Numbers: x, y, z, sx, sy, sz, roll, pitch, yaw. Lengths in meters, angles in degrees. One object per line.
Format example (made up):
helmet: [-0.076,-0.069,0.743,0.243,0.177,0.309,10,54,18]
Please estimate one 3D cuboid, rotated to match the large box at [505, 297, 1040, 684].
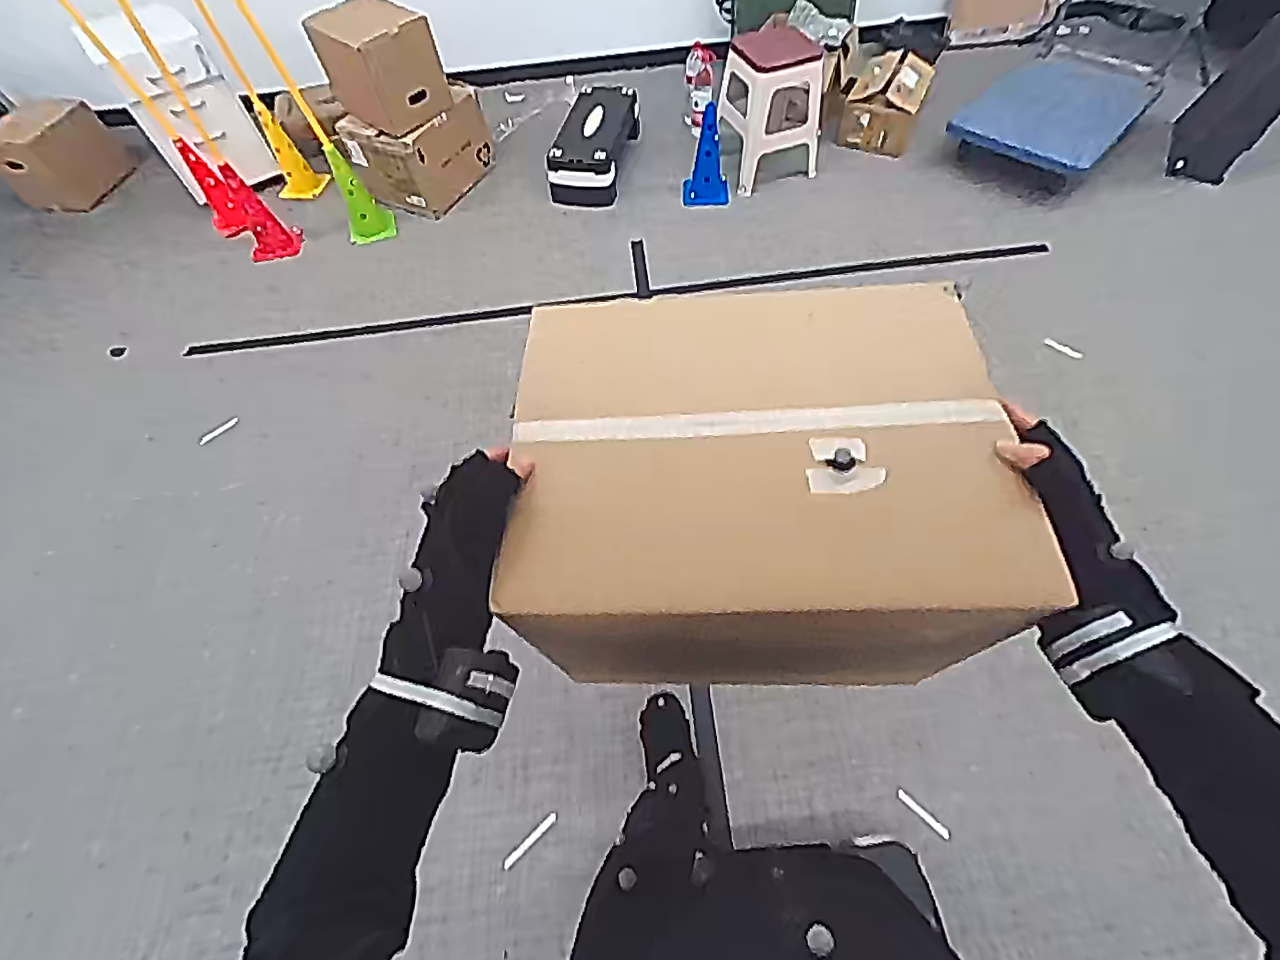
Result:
large box: [0.103,0.034,0.603,0.408,0.320,0.320,-2,60,5]
